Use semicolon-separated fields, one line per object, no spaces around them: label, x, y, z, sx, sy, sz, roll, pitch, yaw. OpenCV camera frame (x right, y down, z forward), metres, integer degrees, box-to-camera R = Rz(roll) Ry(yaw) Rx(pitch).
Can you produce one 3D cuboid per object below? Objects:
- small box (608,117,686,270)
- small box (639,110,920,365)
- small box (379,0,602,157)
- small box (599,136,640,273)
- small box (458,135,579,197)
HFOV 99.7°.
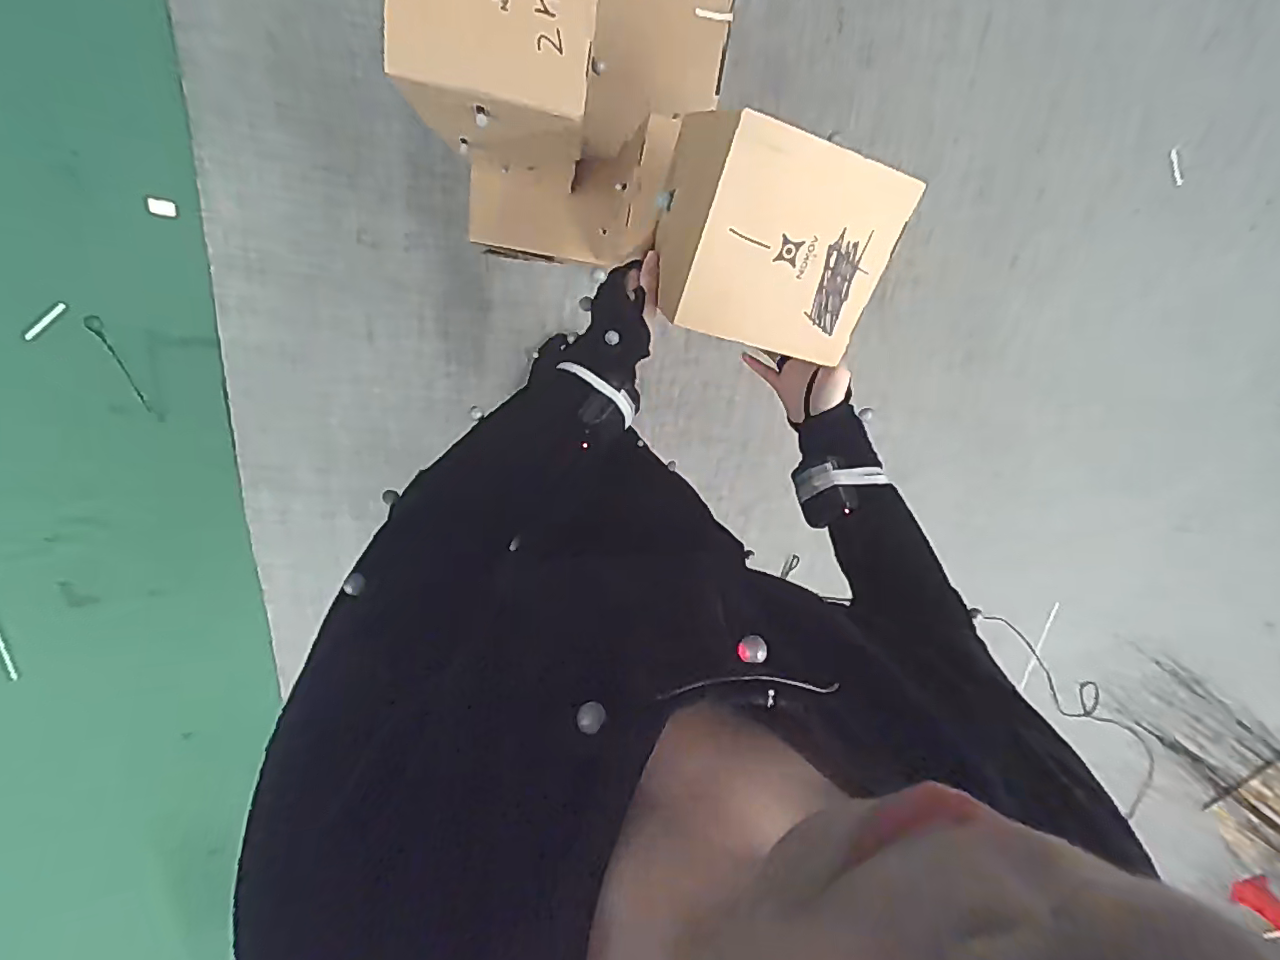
small box;0.062;-0.373;0.760;0.179;0.176;0.168;9;108;-13
small box;0.114;-0.232;0.522;0.179;0.176;0.168;10;118;-18
small box;-0.133;-0.438;0.529;0.179;0.176;0.168;7;108;-9
small box;0.030;-0.438;0.907;0.168;0.176;0.179;9;107;-13
small box;-0.173;-0.561;0.833;0.168;0.176;0.179;9;107;-10
